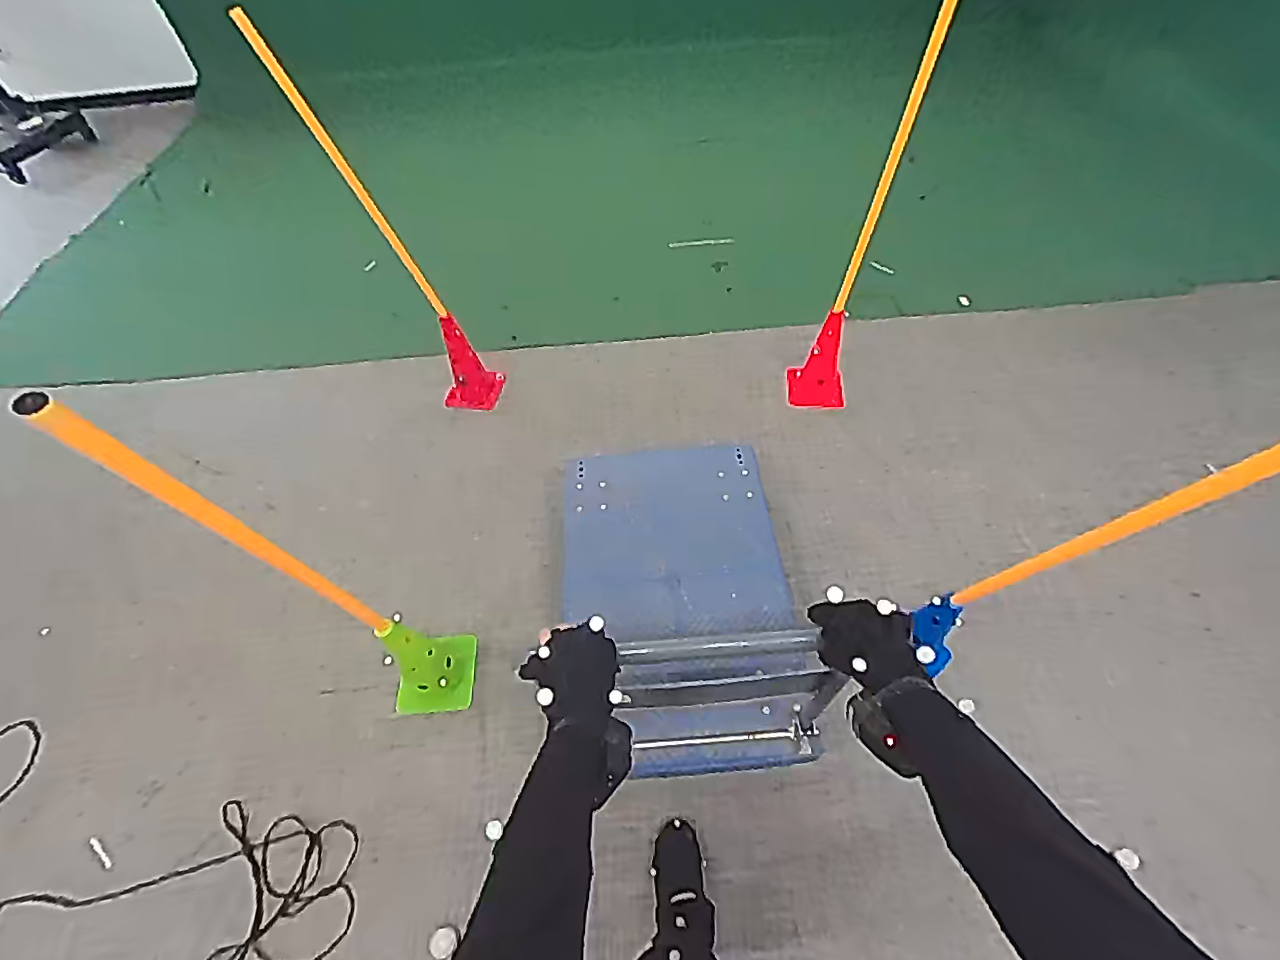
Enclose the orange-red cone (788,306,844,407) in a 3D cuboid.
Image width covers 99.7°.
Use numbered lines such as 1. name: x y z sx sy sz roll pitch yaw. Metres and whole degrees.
1. orange-red cone: 0.643 -0.443 1.874 0.198 0.360 0.199 5 56 8
